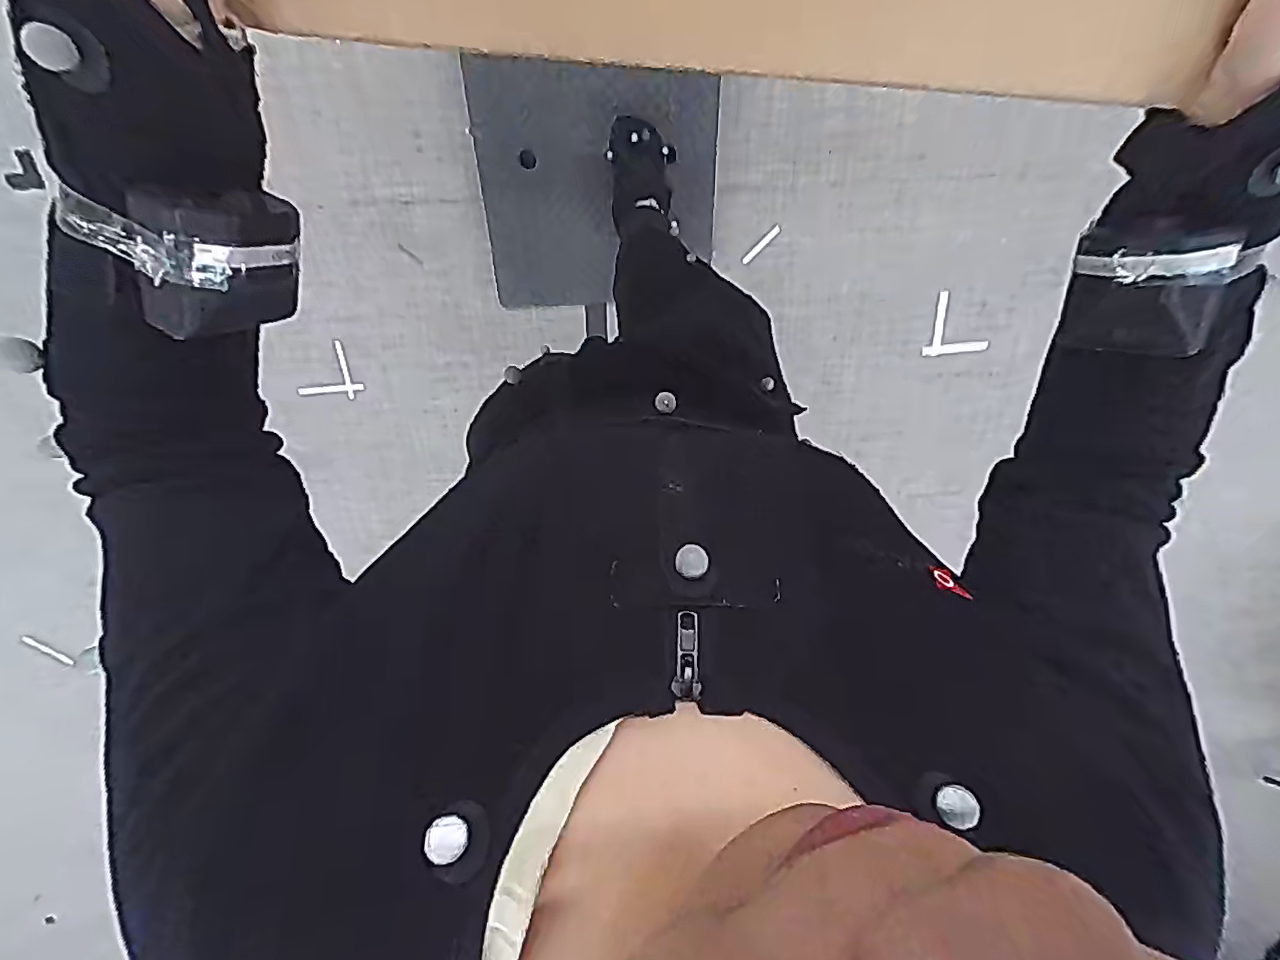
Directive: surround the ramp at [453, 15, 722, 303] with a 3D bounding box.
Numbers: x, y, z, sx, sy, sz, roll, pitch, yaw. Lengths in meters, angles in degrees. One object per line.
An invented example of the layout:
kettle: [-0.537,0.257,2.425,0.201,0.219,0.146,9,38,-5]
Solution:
ramp: [-0.088,-0.834,0.983,0.509,0.206,0.991,-5,115,-4]
